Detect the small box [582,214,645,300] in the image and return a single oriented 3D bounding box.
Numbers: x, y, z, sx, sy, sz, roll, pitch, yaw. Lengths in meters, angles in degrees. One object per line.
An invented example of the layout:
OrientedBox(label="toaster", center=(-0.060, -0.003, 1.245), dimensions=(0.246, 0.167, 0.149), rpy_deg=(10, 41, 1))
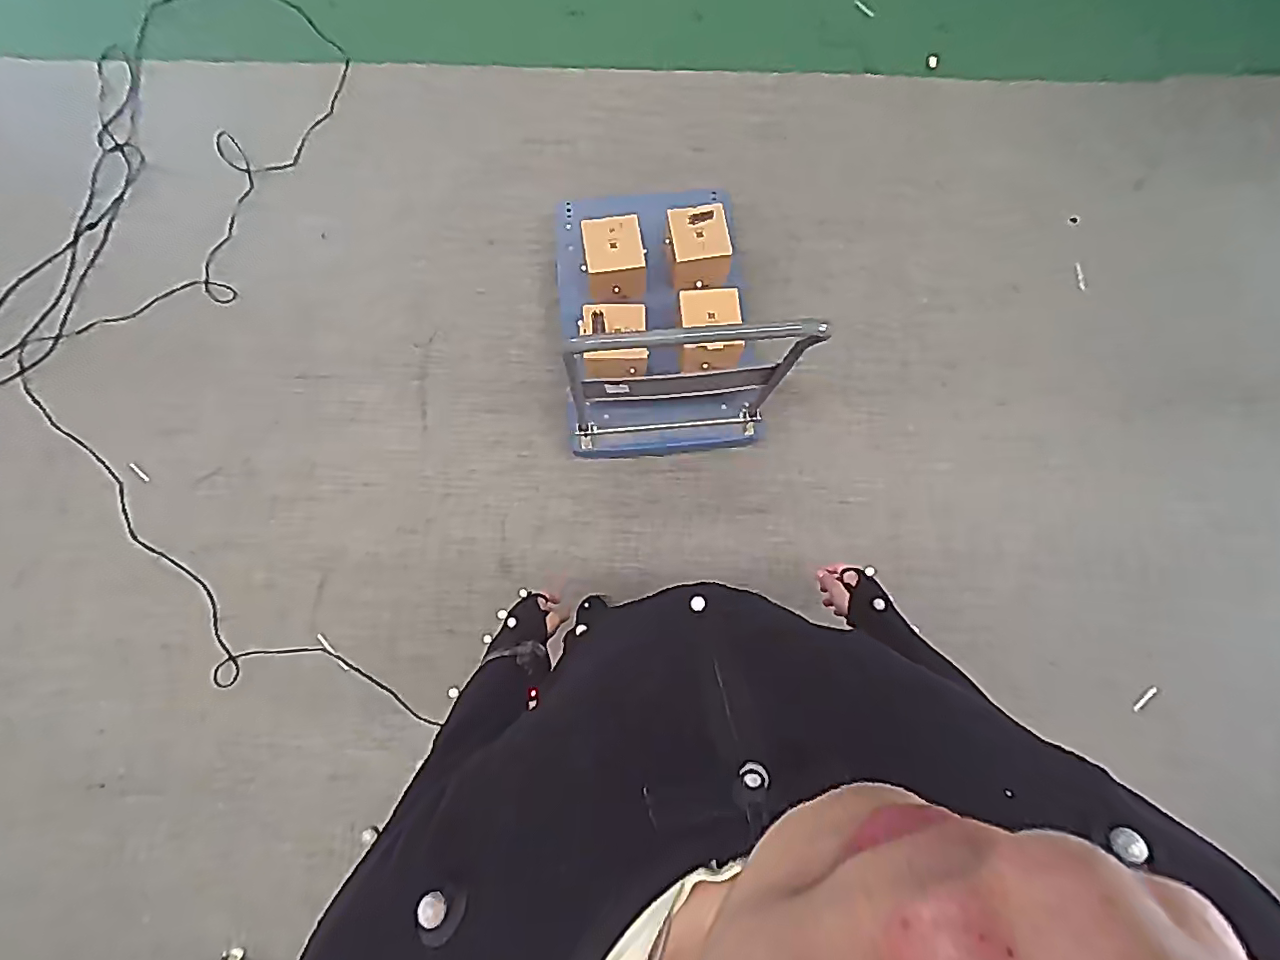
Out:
OrientedBox(label="small box", center=(-0.075, -0.655, 1.611), dimensions=(0.168, 0.176, 0.179), rpy_deg=(-8, 77, -3))

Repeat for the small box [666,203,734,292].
OrientedBox(label="small box", center=(0.174, -0.693, 1.623), dimensions=(0.168, 0.176, 0.179), rpy_deg=(-8, 78, -2))

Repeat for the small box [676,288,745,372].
OrientedBox(label="small box", center=(0.199, -0.430, 1.565), dimensions=(0.168, 0.176, 0.179), rpy_deg=(-4, 78, -2))
